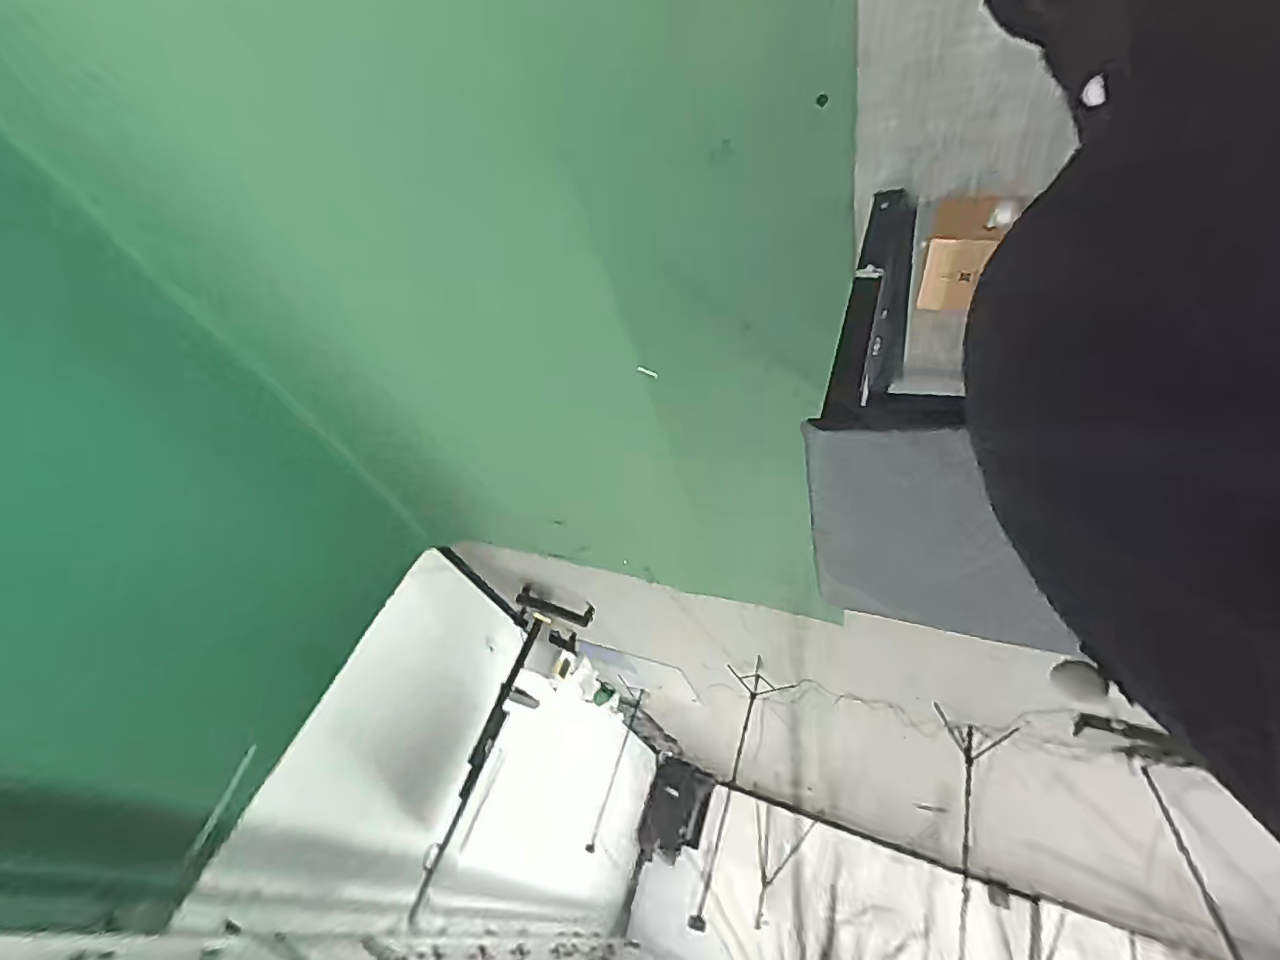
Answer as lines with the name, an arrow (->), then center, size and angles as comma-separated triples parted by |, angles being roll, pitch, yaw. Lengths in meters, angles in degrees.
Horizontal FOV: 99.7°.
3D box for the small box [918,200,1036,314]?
small box -> 0.713, -0.478, 1.152 | 0.179, 0.176, 0.168 | 12, 145, 22
